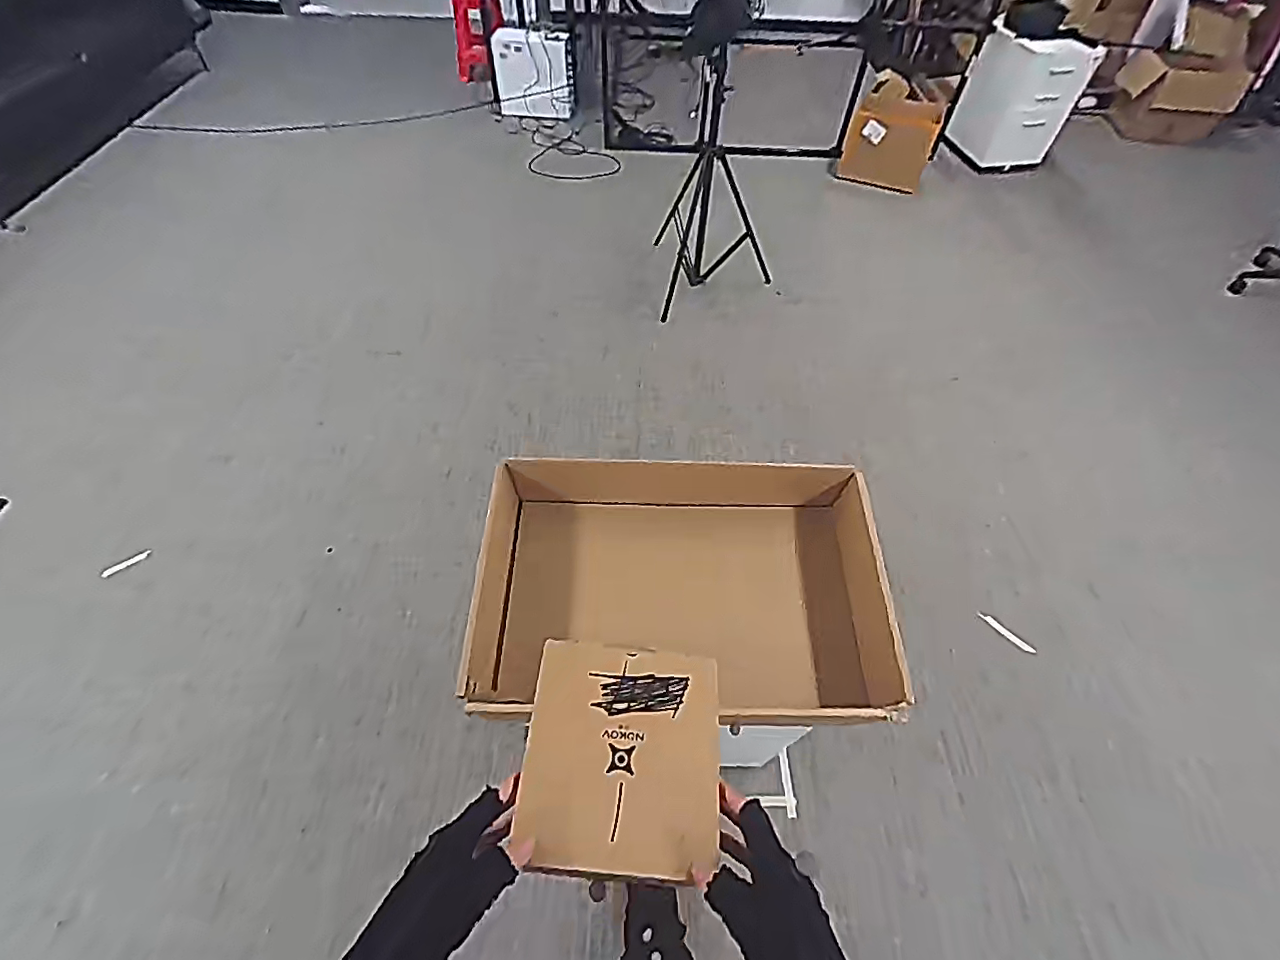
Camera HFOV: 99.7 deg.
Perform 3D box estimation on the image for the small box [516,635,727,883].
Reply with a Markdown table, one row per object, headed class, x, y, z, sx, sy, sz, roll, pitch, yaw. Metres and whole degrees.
| class | x | y | z | sx | sy | sz | roll | pitch | yaw |
| --- | --- | --- | --- | --- | --- | --- | --- | --- | --- |
| small box | -0.016 | 0.273 | 0.524 | 0.168 | 0.176 | 0.179 | 7 | 52 | -2 |
